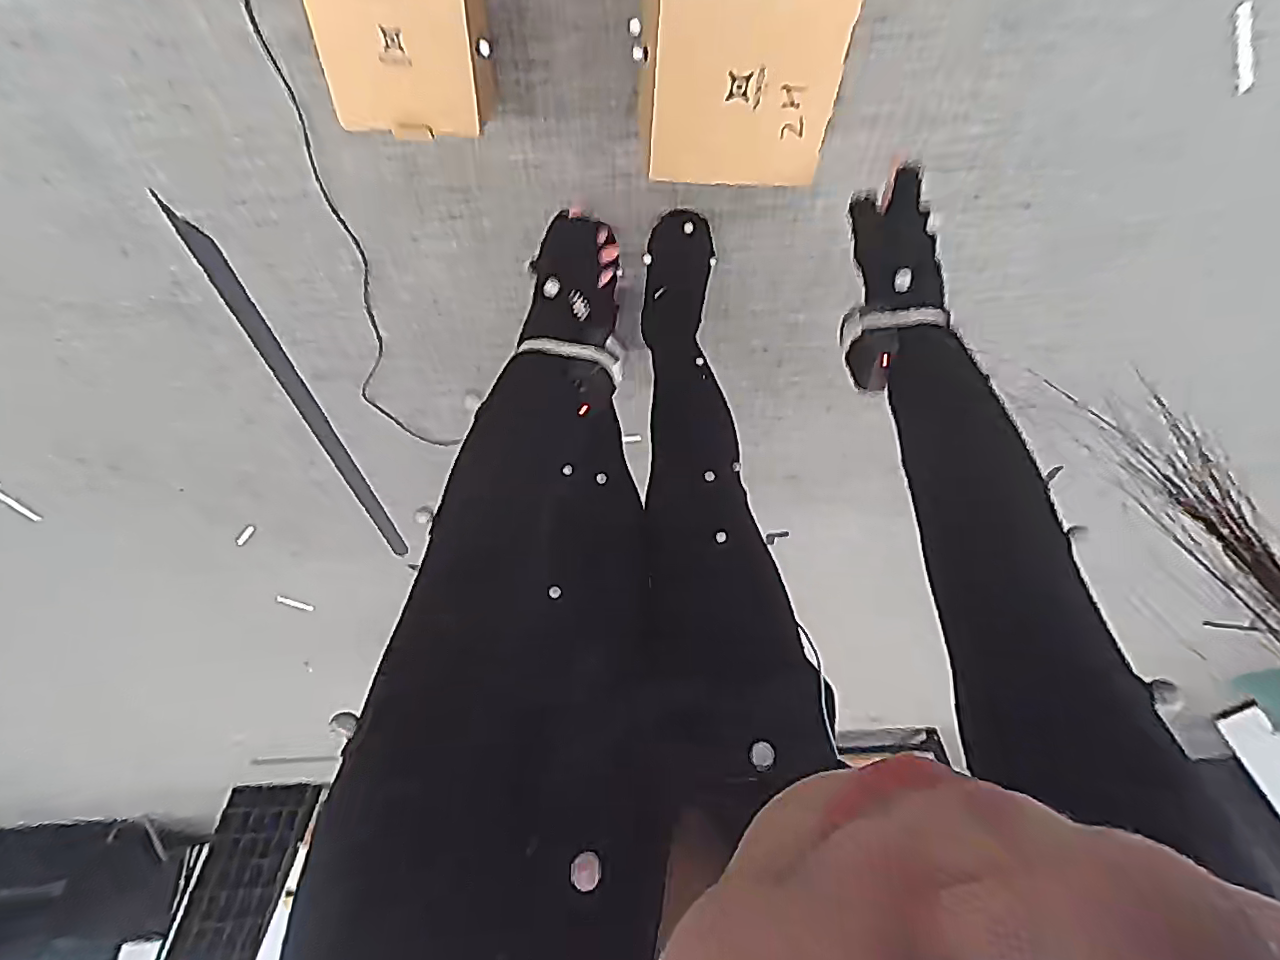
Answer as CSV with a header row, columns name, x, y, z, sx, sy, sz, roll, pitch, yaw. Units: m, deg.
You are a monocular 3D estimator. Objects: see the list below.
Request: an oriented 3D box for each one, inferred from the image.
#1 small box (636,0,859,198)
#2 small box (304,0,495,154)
name,x,y,z,sx,sy,sz,roll,pitch,yaw
small box,0.089,-0.414,0.561,0.179,0.176,0.168,-1,139,-5
small box,-0.274,-0.525,0.653,0.168,0.176,0.179,0,138,-6
